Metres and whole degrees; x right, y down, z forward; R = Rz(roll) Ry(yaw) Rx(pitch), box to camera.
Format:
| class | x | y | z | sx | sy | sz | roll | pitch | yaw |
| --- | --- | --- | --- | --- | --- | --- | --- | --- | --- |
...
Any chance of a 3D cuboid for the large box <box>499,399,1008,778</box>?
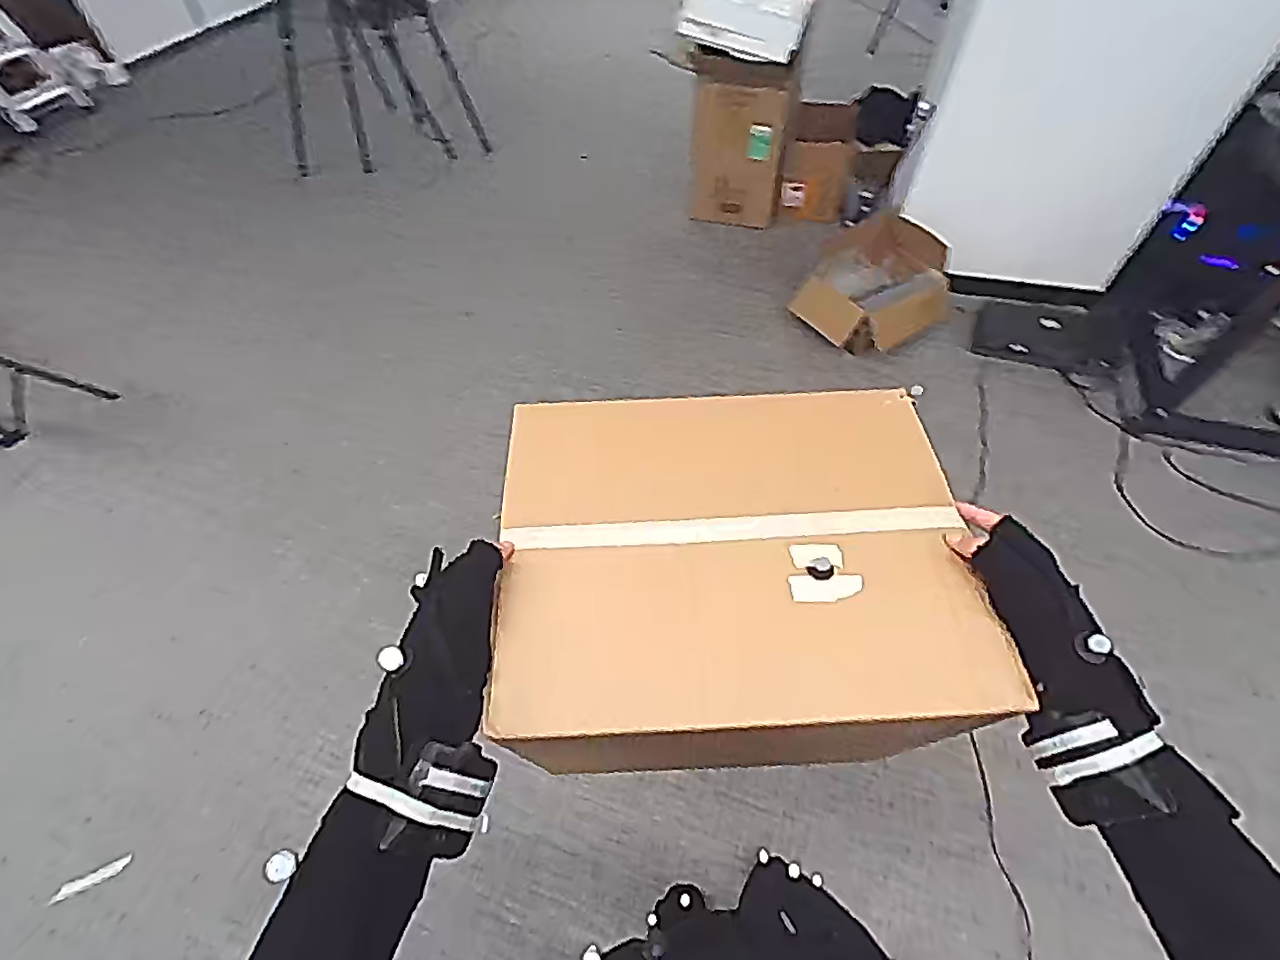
| class | x | y | z | sx | sy | sz | roll | pitch | yaw |
| --- | --- | --- | --- | --- | --- | --- | --- | --- | --- |
| large box | 0.079 | 0.135 | 0.615 | 0.408 | 0.320 | 0.320 | -3 | 57 | -2 |
